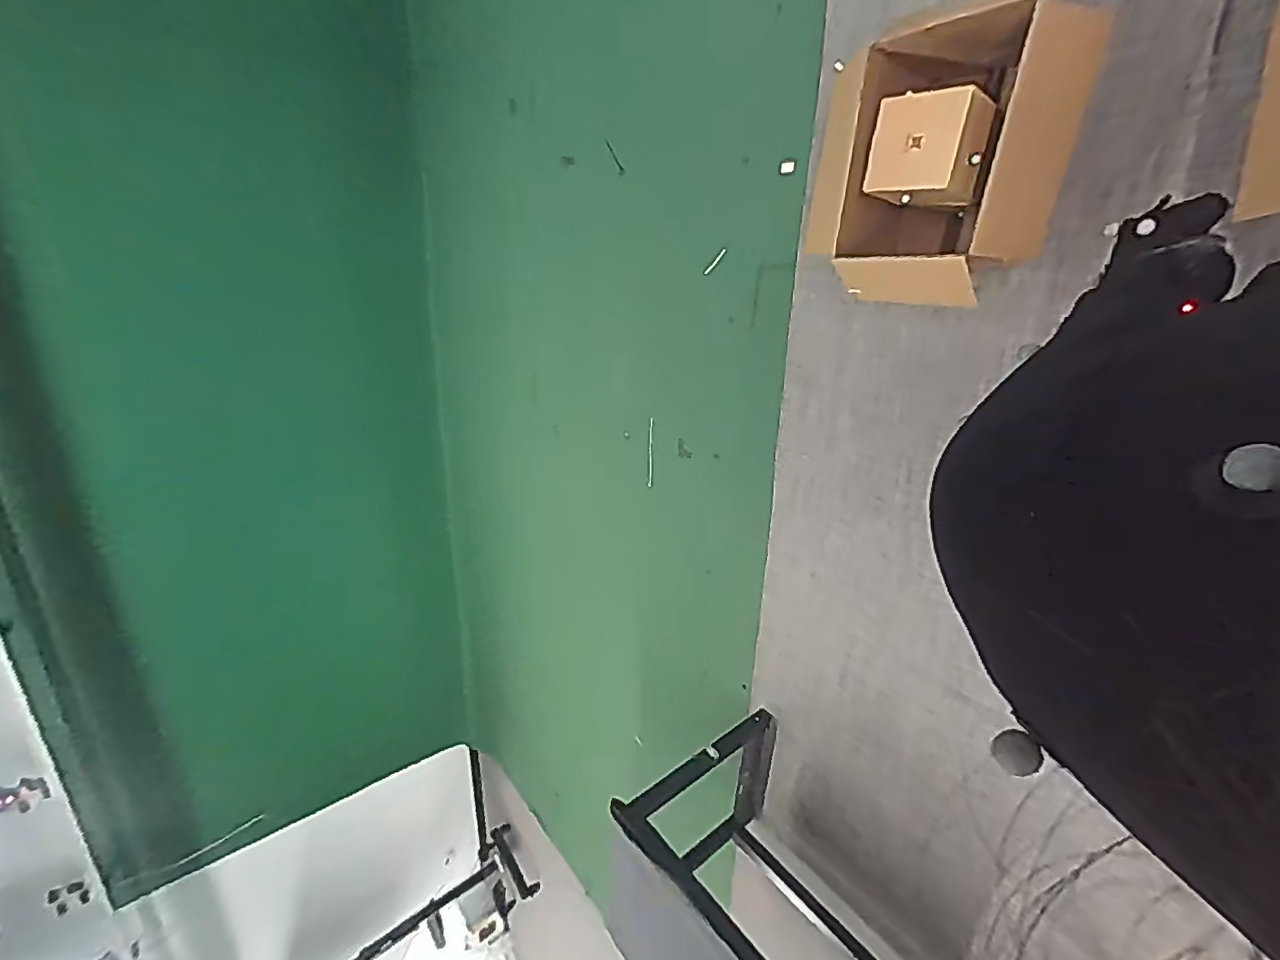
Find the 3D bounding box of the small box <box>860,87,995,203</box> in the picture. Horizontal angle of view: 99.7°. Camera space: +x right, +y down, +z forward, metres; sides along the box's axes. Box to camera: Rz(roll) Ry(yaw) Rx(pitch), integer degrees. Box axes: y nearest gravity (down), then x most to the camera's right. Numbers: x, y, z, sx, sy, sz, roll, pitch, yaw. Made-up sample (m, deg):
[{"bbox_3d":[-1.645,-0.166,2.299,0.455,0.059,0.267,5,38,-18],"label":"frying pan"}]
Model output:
[{"bbox_3d":[0.585,-0.668,1.098,0.179,0.176,0.168,26,119,43],"label":"small box"}]
